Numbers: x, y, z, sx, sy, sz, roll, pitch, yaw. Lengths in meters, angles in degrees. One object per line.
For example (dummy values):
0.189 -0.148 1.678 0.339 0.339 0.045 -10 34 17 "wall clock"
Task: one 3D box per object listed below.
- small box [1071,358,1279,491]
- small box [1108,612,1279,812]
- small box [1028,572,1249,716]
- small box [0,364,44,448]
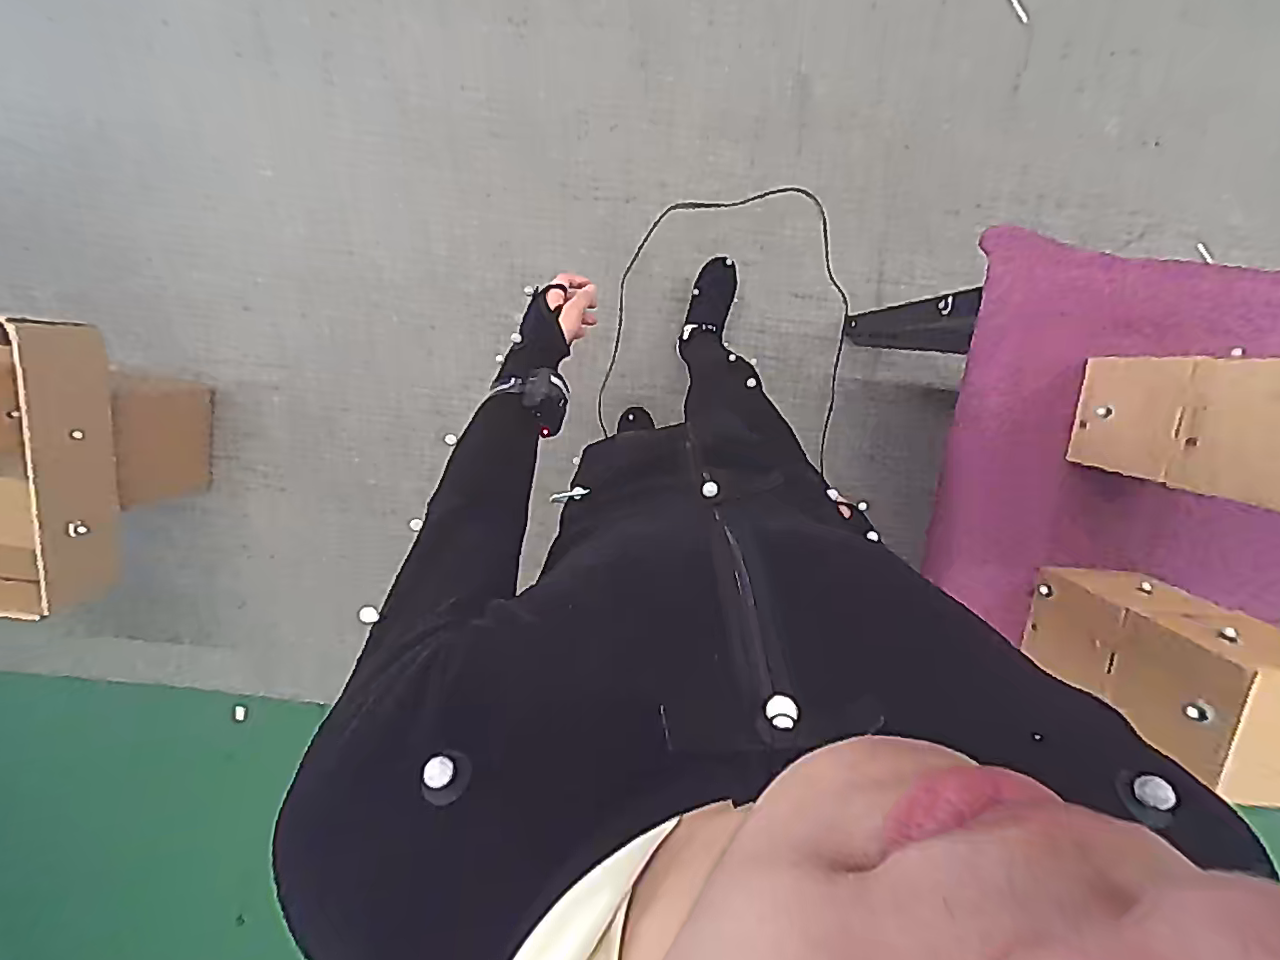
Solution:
0.782 -0.086 0.776 0.179 0.176 0.168 3 102 0 "small box"
0.756 0.285 0.689 0.168 0.176 0.179 4 102 0 "small box"
0.760 0.252 0.848 0.179 0.176 0.168 4 102 -2 "small box"
-1.371 -0.153 1.082 0.179 0.176 0.168 8 101 -2 "small box"
